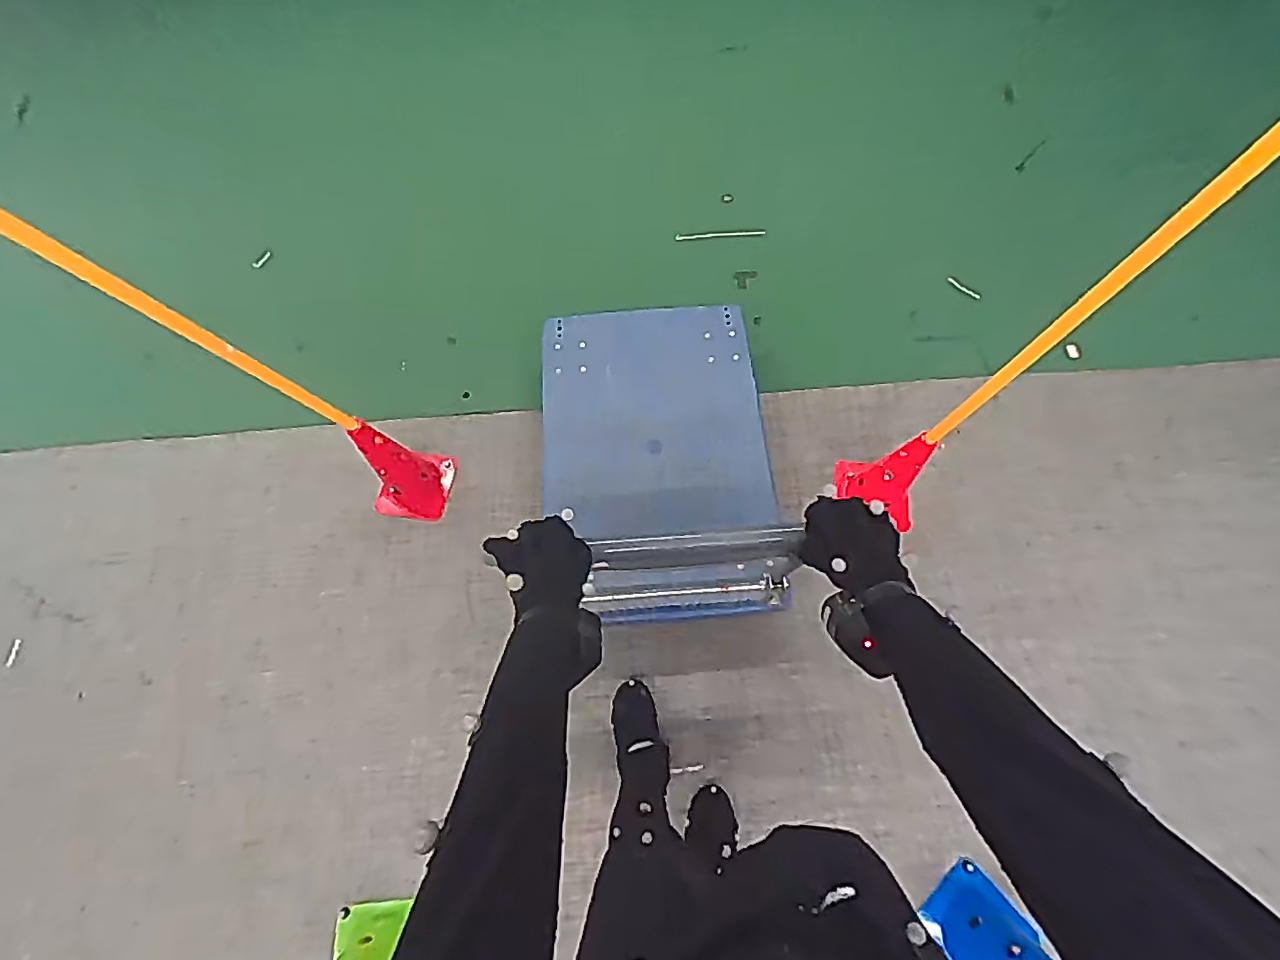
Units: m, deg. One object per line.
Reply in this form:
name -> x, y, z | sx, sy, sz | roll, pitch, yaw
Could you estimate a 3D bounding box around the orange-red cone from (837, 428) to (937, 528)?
orange-red cone -> 0.643, -0.030, 1.349 | 0.198, 0.360, 0.199 | 6, 68, 5
